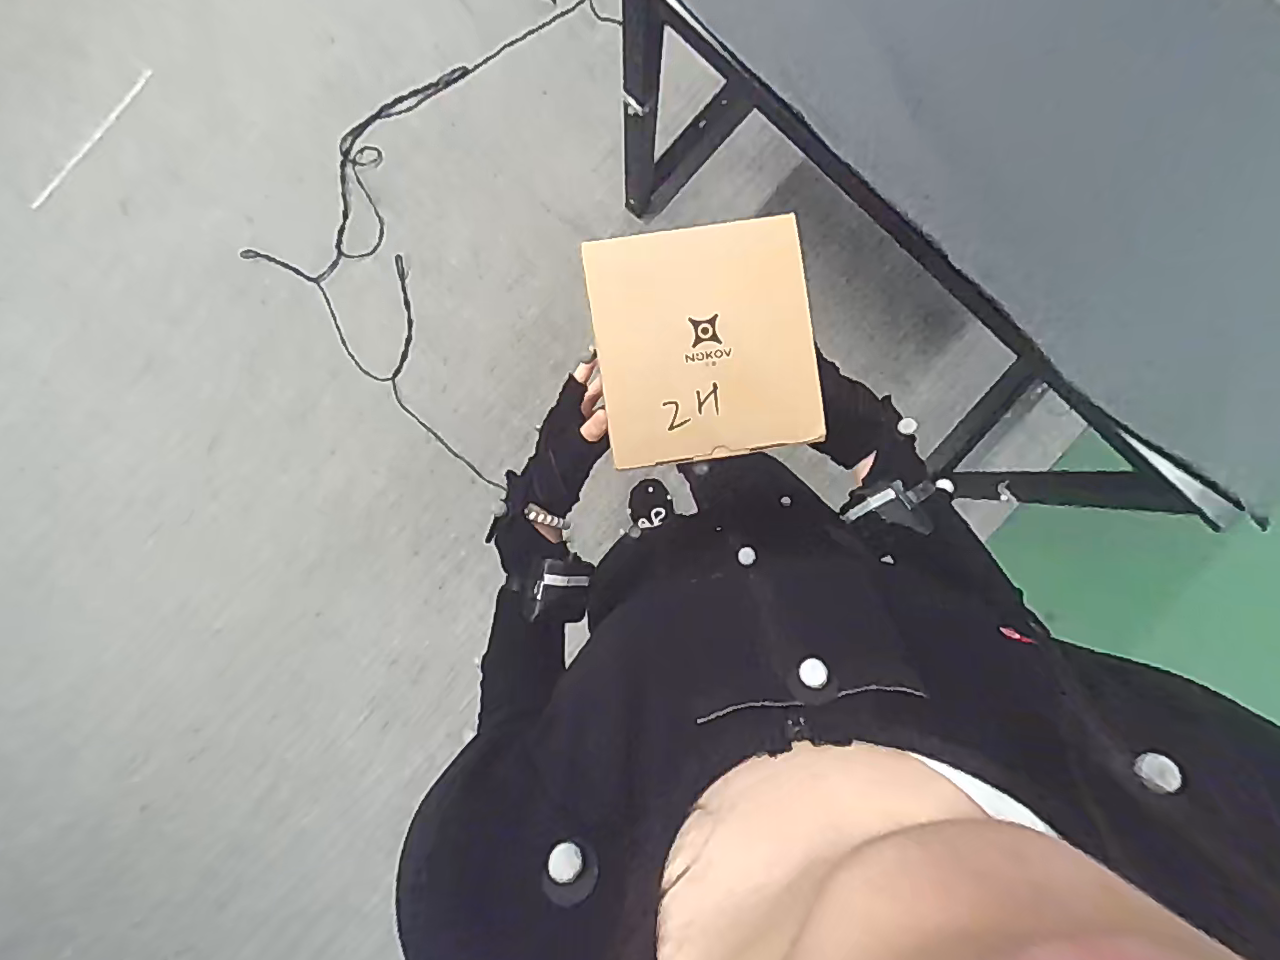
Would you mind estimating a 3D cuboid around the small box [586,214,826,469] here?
[{"bbox_3d":[0.047,-0.107,0.489,0.168,0.176,0.179,-9,91,-1],"label":"small box"}]
